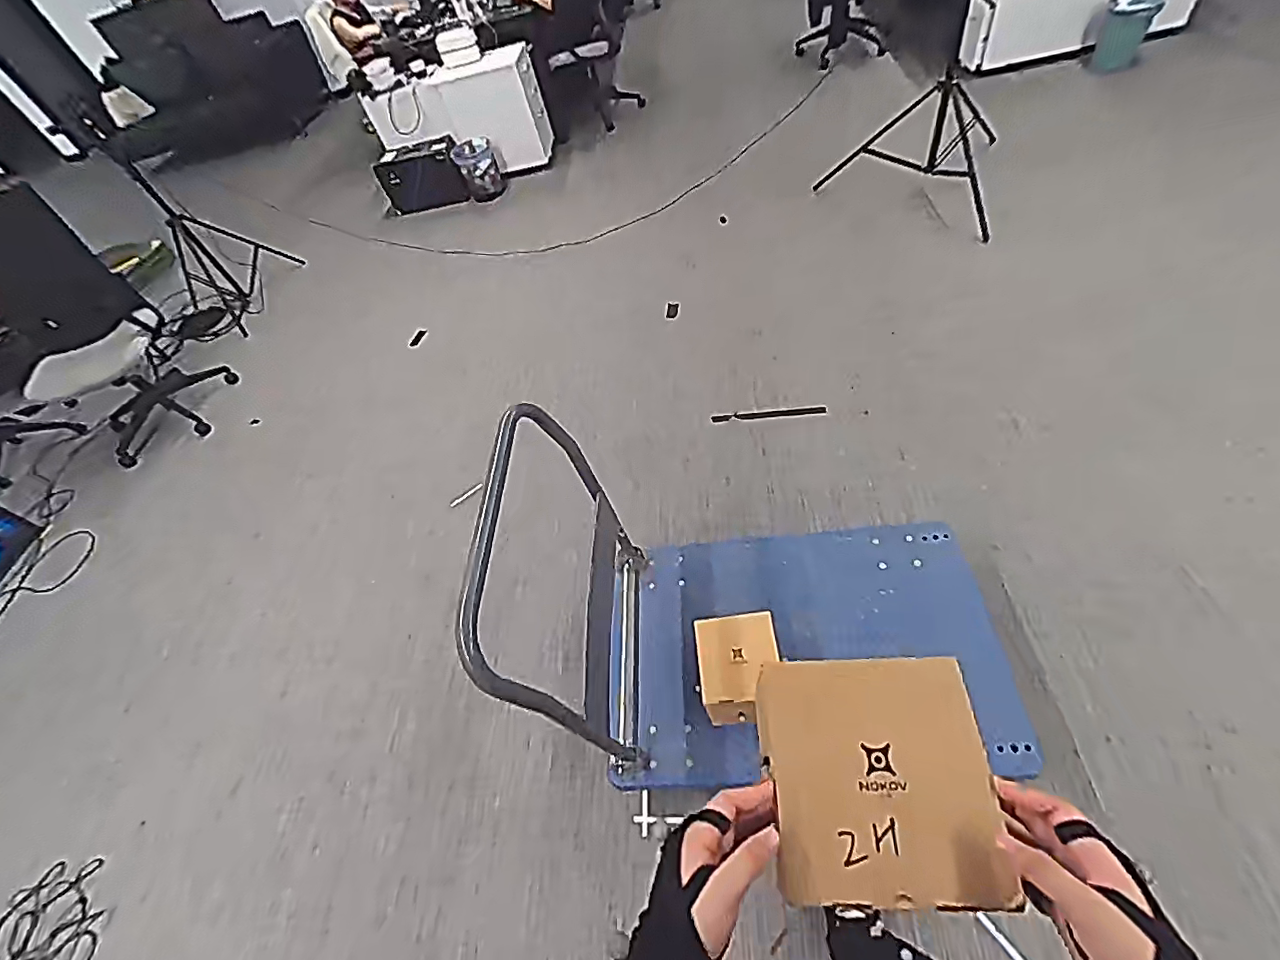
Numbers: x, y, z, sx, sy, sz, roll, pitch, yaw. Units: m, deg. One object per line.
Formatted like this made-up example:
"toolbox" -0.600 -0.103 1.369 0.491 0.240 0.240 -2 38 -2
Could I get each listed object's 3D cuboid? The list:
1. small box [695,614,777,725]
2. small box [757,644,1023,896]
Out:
"small box" 0.216 0.412 1.168 0.168 0.176 0.179 -10 52 7
"small box" 0.200 0.261 0.498 0.168 0.176 0.179 -5 60 8
